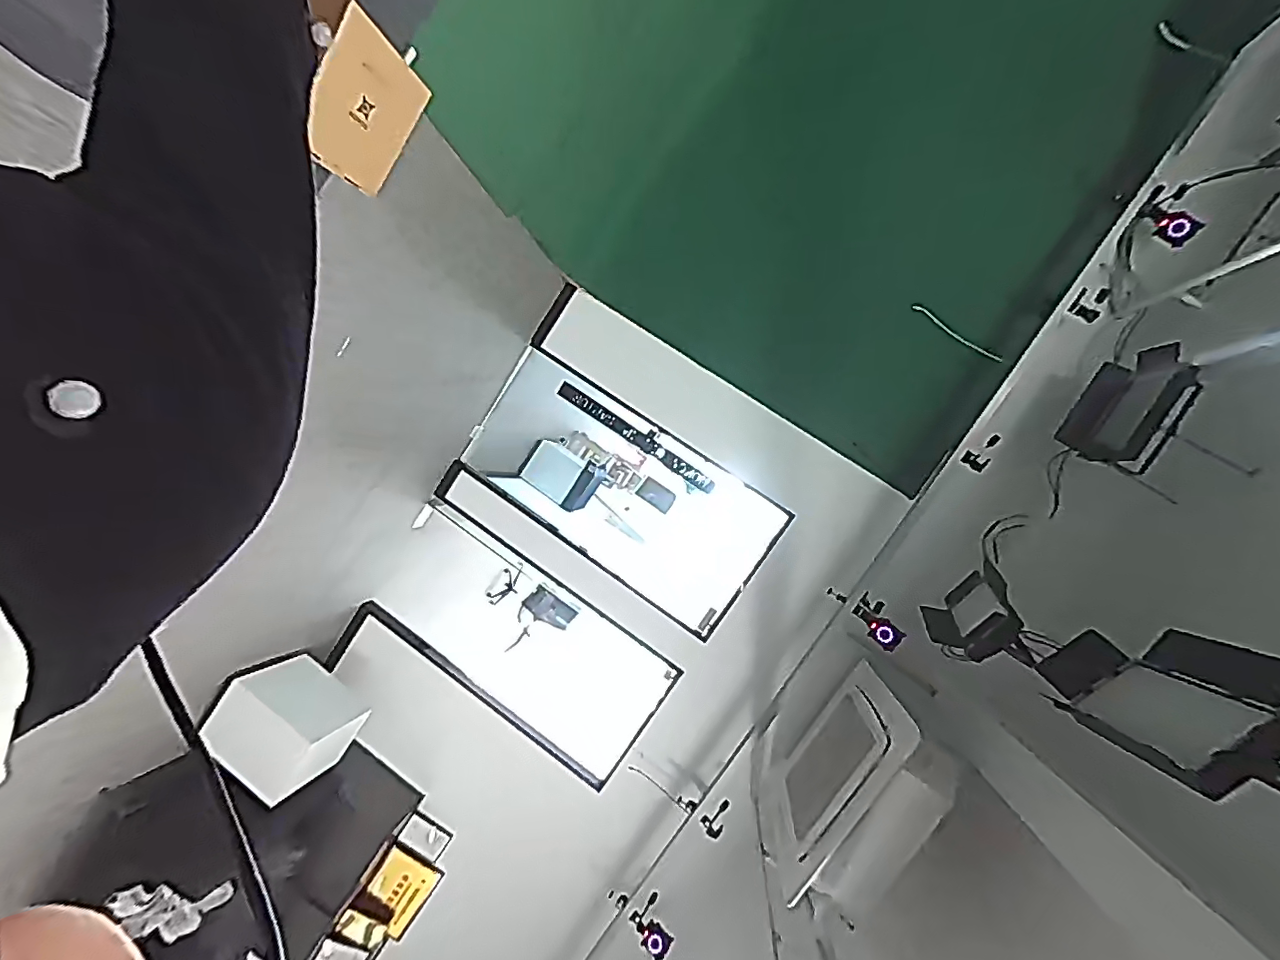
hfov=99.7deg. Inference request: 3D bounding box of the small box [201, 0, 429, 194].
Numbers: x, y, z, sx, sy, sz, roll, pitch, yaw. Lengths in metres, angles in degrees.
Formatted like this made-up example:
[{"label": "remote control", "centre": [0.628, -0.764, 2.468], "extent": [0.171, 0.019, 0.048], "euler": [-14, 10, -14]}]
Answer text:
[{"label": "small box", "centre": [-0.434, -0.540, 0.729], "extent": [0.179, 0.176, 0.168], "euler": [-57, 172, 6]}]
